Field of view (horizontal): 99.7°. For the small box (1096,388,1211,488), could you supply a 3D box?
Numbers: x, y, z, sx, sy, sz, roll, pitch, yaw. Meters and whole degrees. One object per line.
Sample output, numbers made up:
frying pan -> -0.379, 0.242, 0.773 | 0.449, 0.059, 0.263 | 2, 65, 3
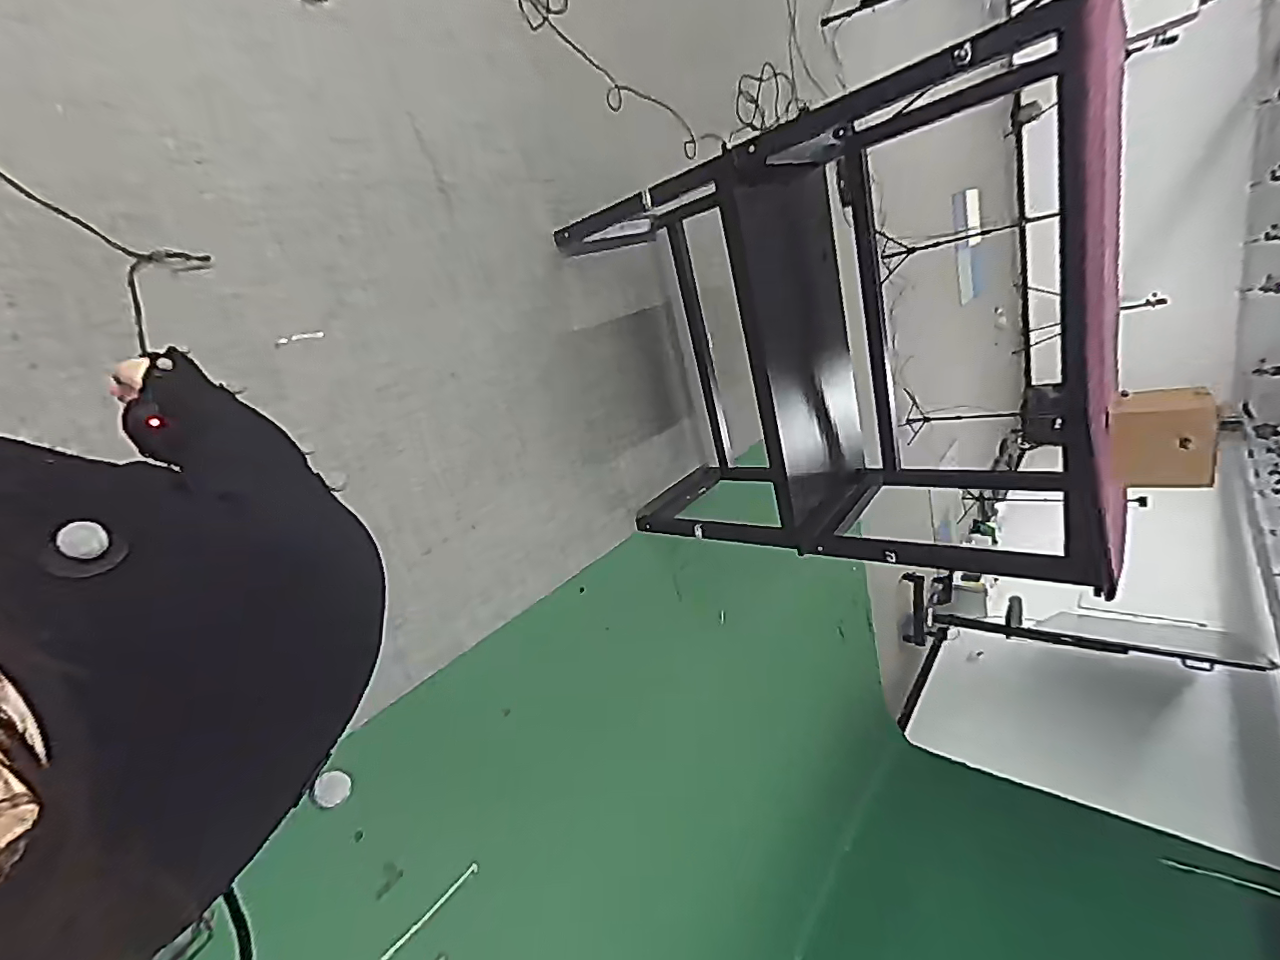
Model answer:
small box -> 1.122, -0.090, 1.192 | 0.168, 0.176, 0.179 | -32, 115, -44
